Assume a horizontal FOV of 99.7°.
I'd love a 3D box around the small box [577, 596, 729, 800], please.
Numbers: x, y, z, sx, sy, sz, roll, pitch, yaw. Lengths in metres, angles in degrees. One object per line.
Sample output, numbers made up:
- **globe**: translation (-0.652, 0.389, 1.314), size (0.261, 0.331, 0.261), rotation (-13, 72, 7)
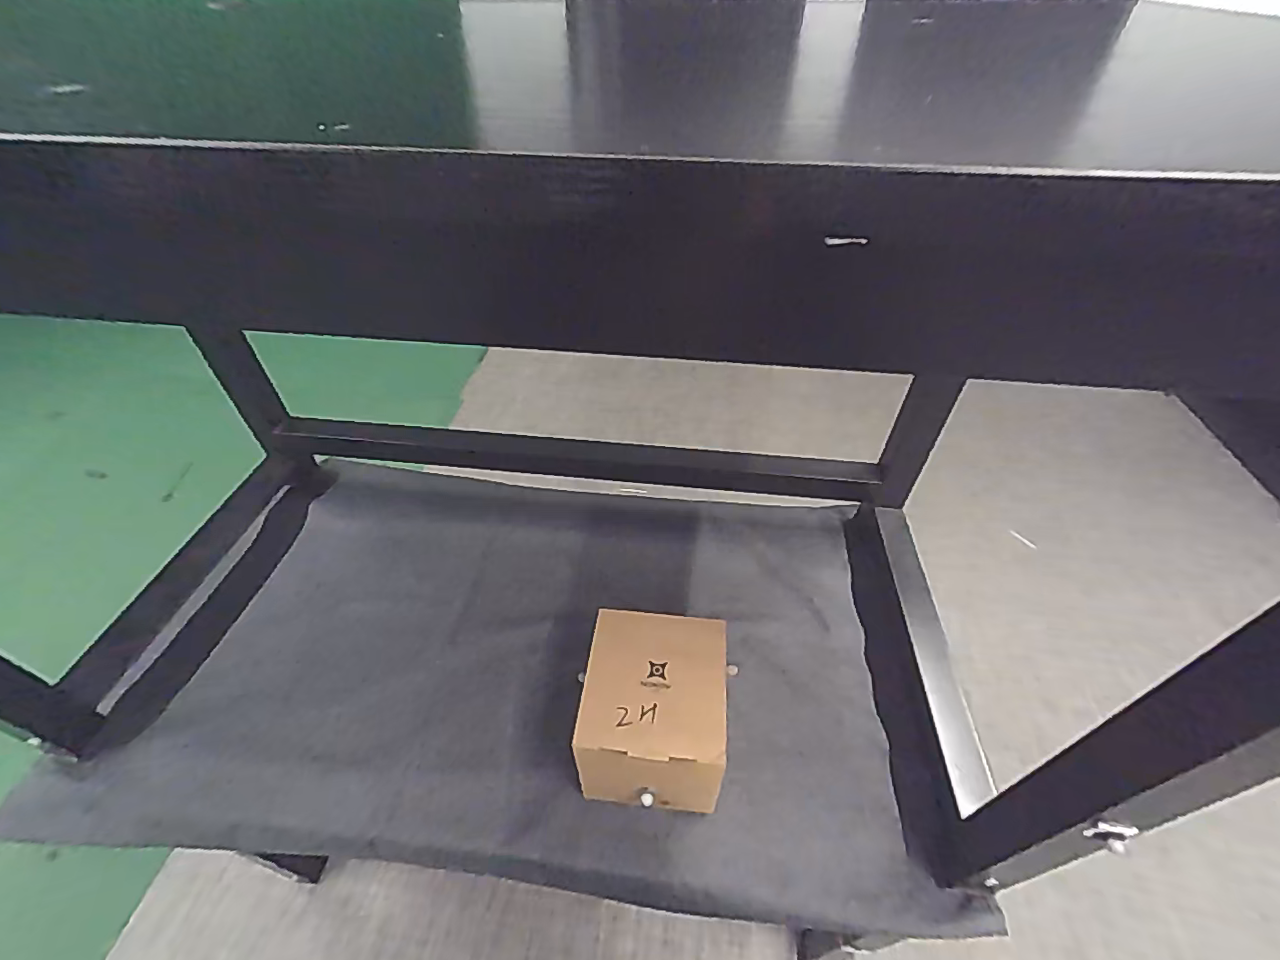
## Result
- **small box**: translation (0.022, 0.276, 0.689), size (0.168, 0.176, 0.179), rotation (4, 43, 6)
